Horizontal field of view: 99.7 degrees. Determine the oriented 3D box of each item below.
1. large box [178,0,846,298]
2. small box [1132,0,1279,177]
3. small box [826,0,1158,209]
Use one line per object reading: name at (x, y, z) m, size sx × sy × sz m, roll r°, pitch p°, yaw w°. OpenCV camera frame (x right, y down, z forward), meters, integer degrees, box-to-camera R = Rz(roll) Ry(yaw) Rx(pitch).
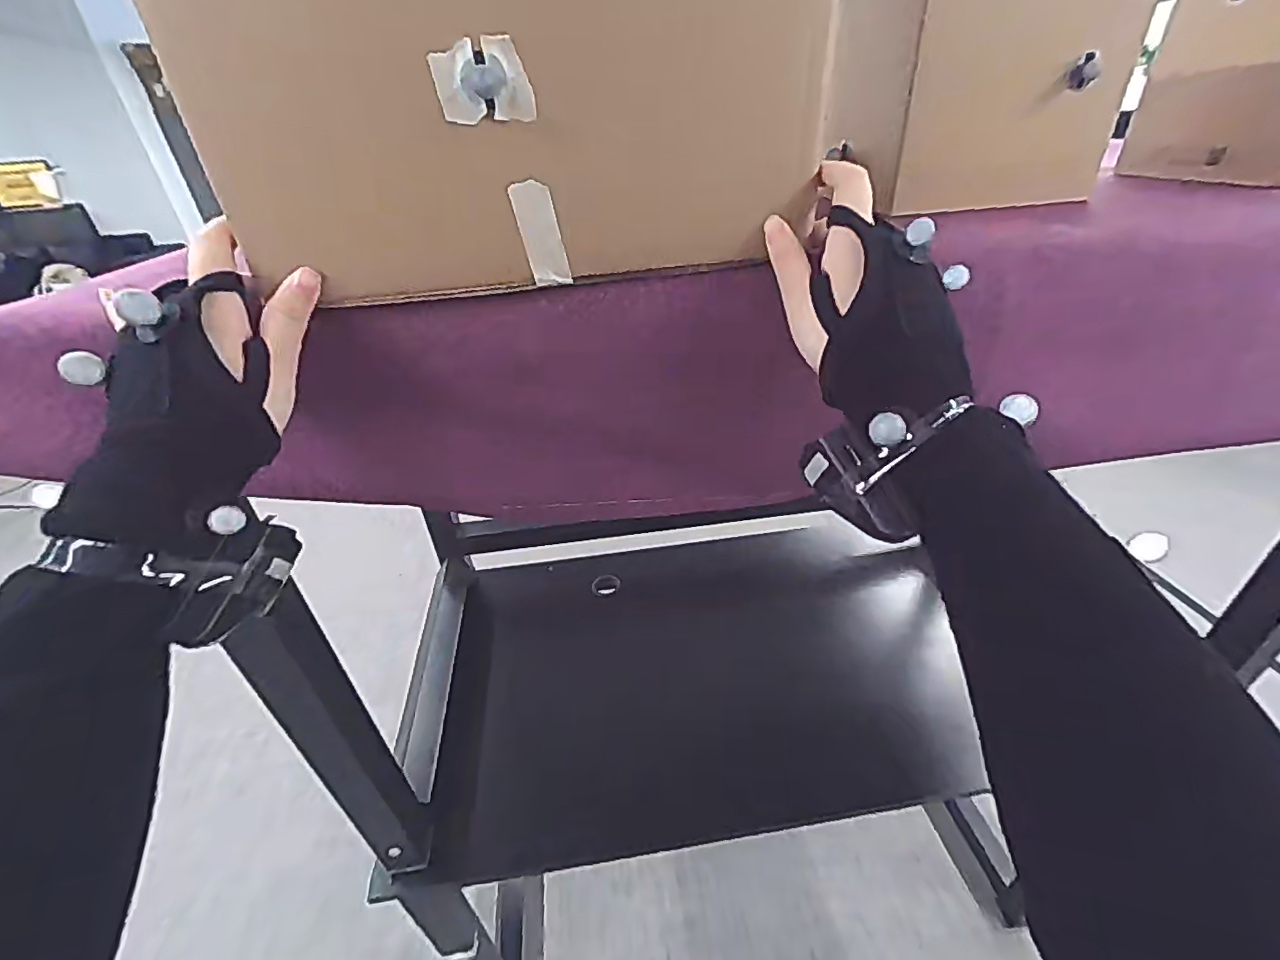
large box at (-0.085, -0.344, 0.386) m, size 0.320 × 0.320 × 0.408 m, roll -8°, pitch 32°, yaw -7°
small box at (0.593, -0.365, 0.462) m, size 0.179 × 0.176 × 0.168 m, roll -6°, pitch 32°, yaw -3°
small box at (0.278, -0.340, 0.463) m, size 0.179 × 0.176 × 0.168 m, roll -6°, pitch 32°, yaw -3°
